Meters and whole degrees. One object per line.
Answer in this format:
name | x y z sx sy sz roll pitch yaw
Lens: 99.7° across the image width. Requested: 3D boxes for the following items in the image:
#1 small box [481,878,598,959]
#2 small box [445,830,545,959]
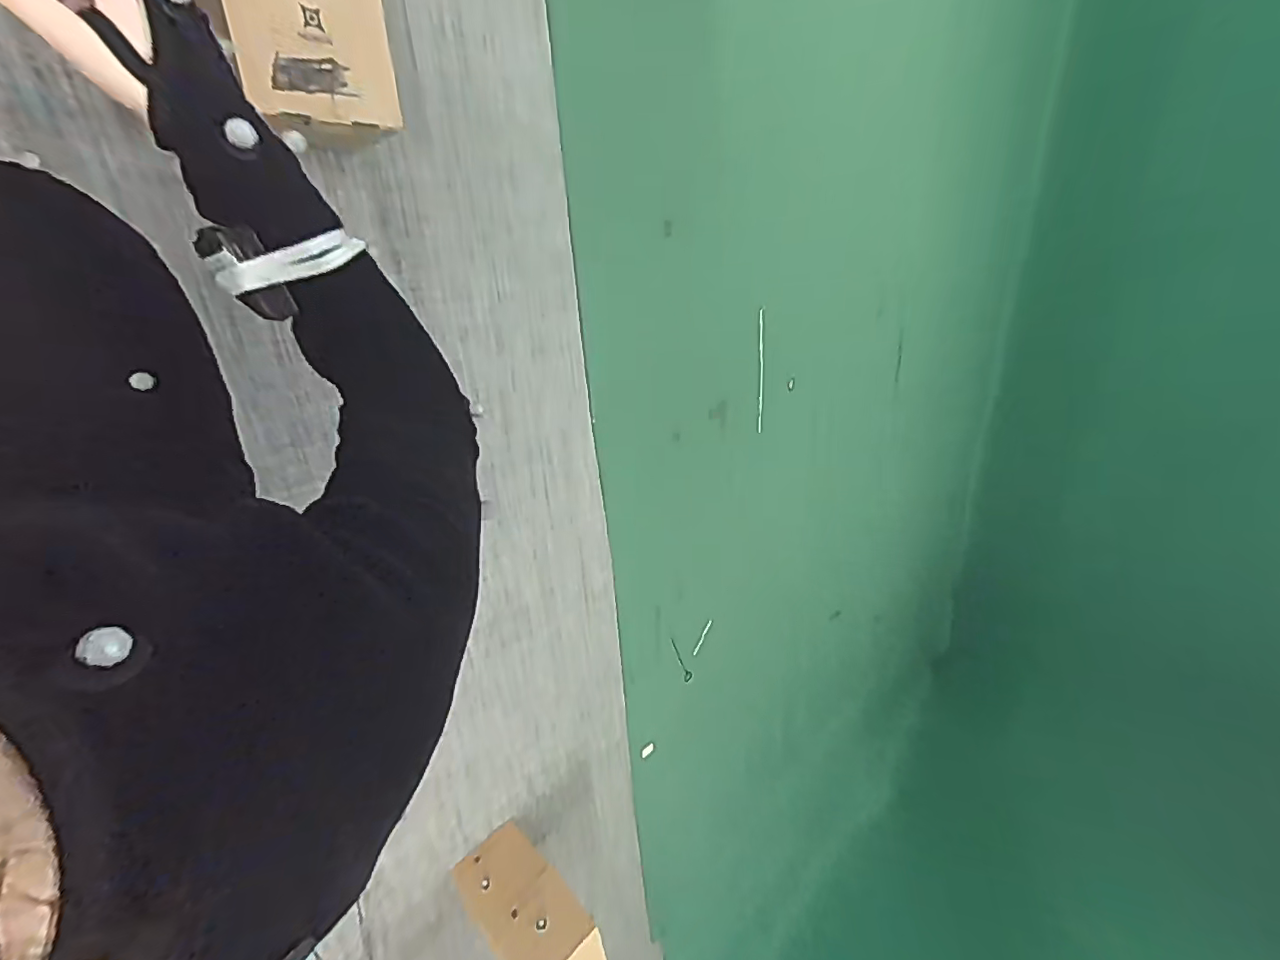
small box | -0.205 0.977 1.115 0.168 0.176 0.179 -26 121 -36
small box | -0.320 0.943 1.227 0.168 0.176 0.179 -25 120 -37
